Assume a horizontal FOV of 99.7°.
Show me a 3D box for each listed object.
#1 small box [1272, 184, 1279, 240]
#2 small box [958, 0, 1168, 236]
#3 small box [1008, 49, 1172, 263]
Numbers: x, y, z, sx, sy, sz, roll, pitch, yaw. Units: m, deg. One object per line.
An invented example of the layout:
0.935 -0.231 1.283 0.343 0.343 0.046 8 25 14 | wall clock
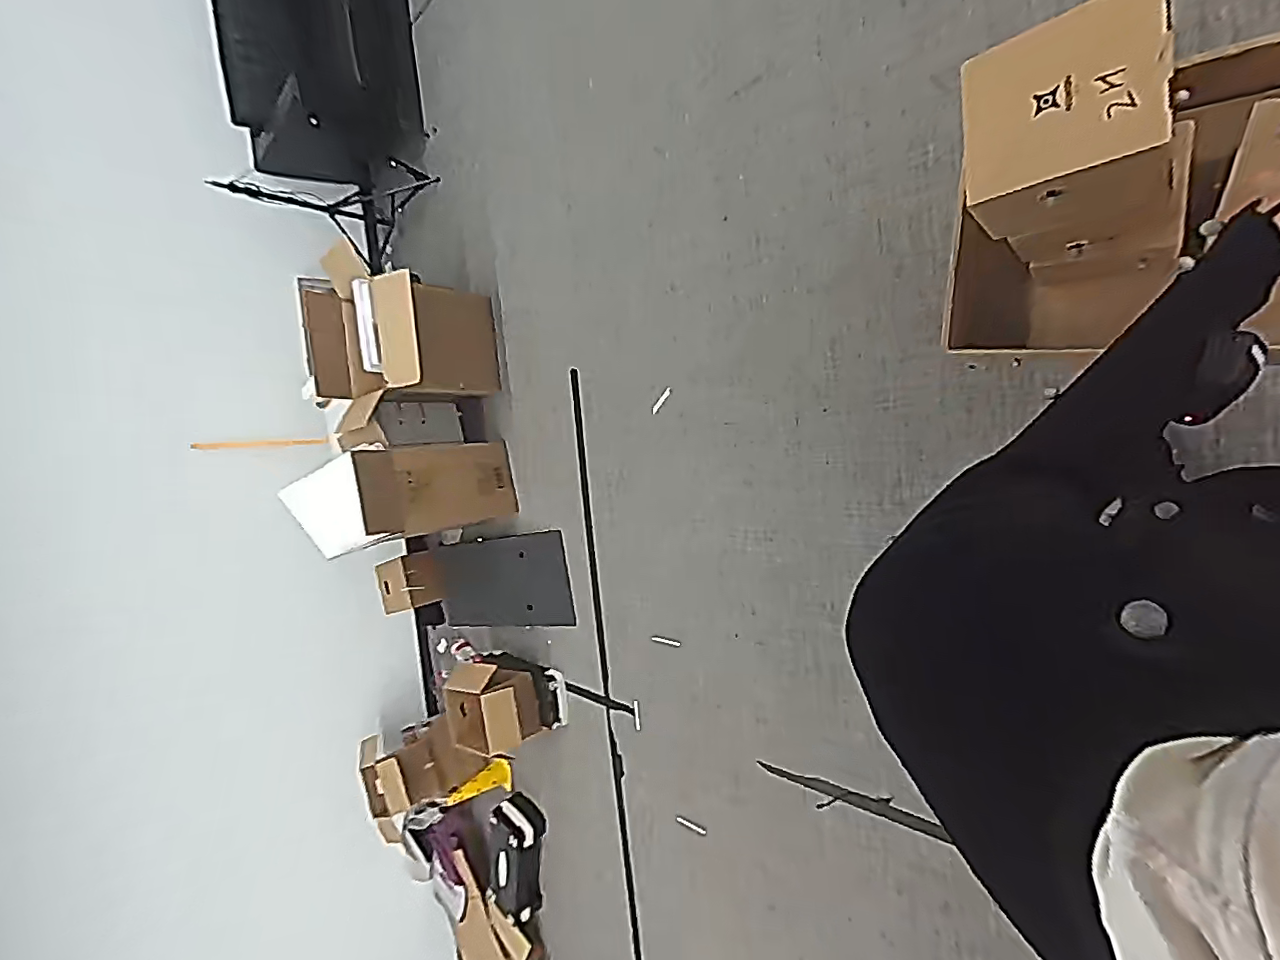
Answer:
0.680 -0.306 0.459 0.168 0.176 0.179 11 110 45 | small box
0.493 -0.406 0.631 0.179 0.176 0.168 -1 95 43 | small box
0.611 -0.422 0.743 0.168 0.176 0.179 -2 94 43 | small box
